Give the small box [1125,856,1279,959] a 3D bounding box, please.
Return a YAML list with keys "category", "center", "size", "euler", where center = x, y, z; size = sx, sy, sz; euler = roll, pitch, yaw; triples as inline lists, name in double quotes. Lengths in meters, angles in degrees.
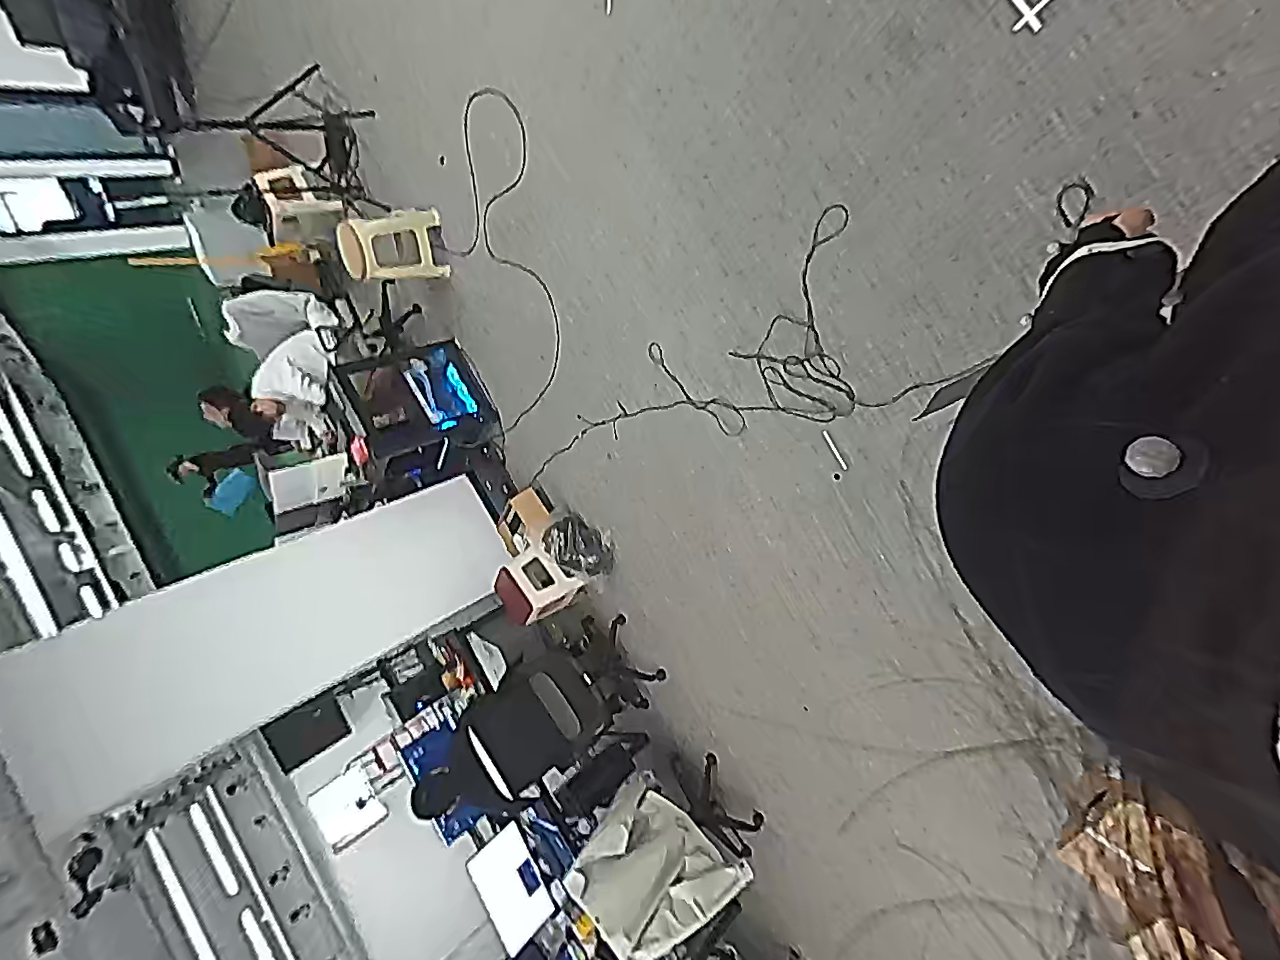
- category: "small box"
  center: [1.121, 0.907, 1.070]
  size: [0.179, 0.176, 0.168]
  euler: [31, 131, 36]
